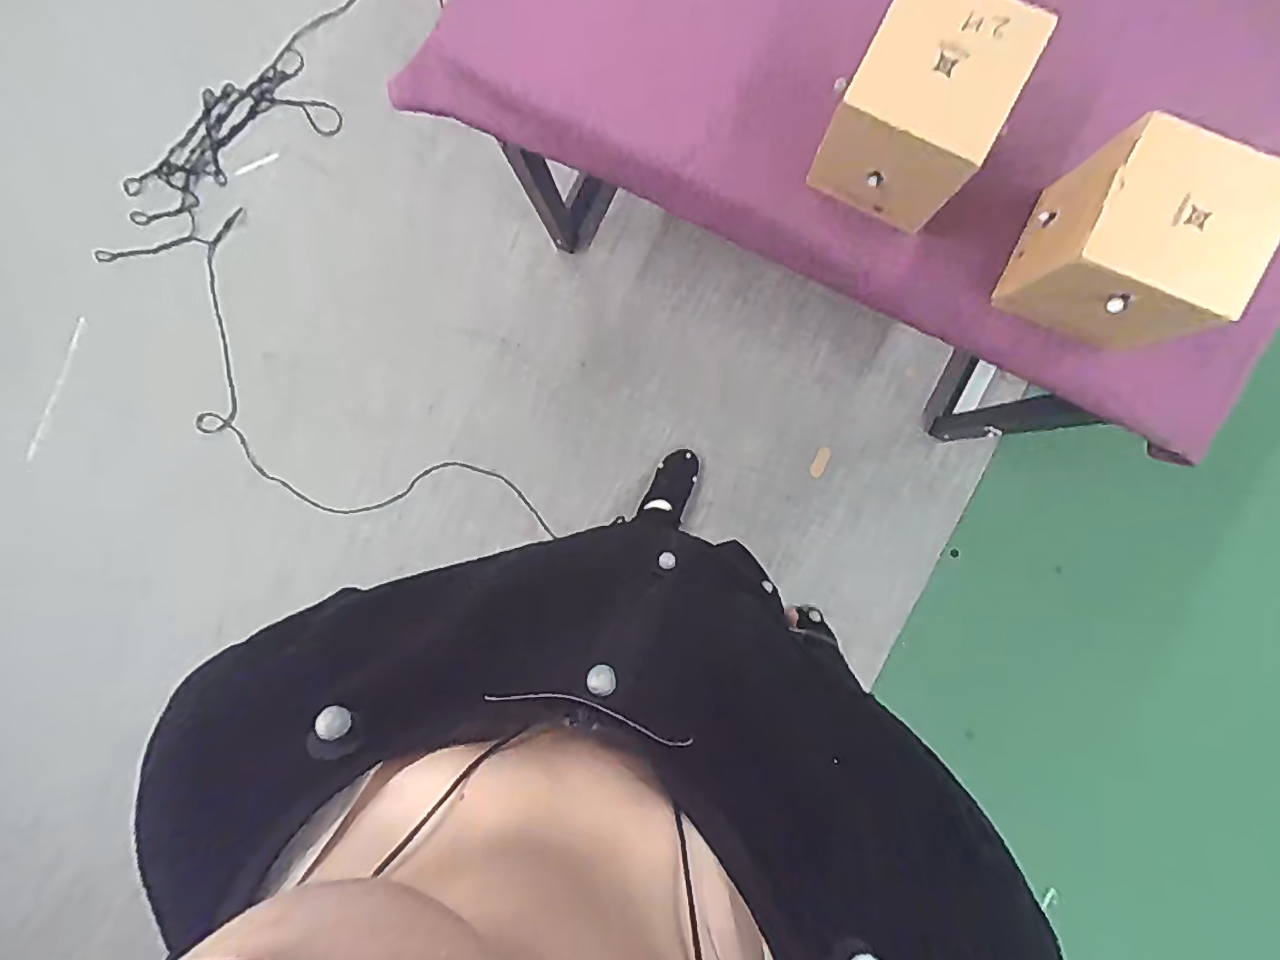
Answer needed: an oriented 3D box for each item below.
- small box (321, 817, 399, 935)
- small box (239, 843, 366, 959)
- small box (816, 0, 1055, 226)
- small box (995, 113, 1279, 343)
[{"bbox_3d":[-0.782,1.047,1.447,0.179,0.176,0.168,18,91,3],"label":"small box"},{"bbox_3d":[-0.790,1.023,1.284,0.168,0.176,0.179,23,92,3],"label":"small box"},{"bbox_3d":[0.335,-0.449,0.658,0.168,0.176,0.179,28,92,3],"label":"small box"},{"bbox_3d":[0.581,-0.279,0.644,0.179,0.176,0.168,25,94,5],"label":"small box"}]
